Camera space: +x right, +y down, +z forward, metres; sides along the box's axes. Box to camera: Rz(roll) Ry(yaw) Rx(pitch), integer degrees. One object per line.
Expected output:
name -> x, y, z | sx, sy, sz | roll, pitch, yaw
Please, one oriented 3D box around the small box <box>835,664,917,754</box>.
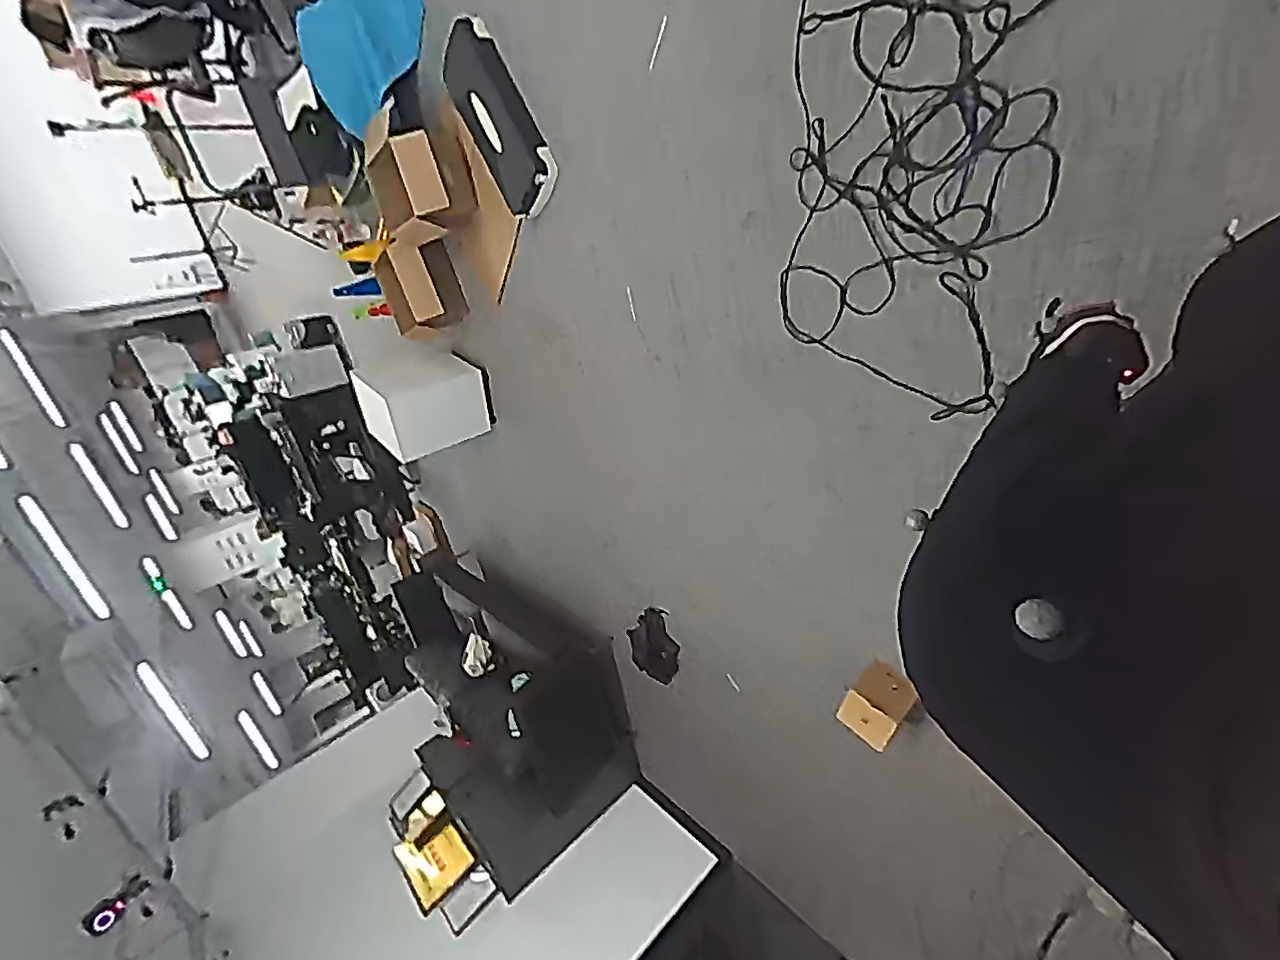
small box -> 0.773, 0.744, 1.766 | 0.168, 0.176, 0.179 | 35, 137, 35
